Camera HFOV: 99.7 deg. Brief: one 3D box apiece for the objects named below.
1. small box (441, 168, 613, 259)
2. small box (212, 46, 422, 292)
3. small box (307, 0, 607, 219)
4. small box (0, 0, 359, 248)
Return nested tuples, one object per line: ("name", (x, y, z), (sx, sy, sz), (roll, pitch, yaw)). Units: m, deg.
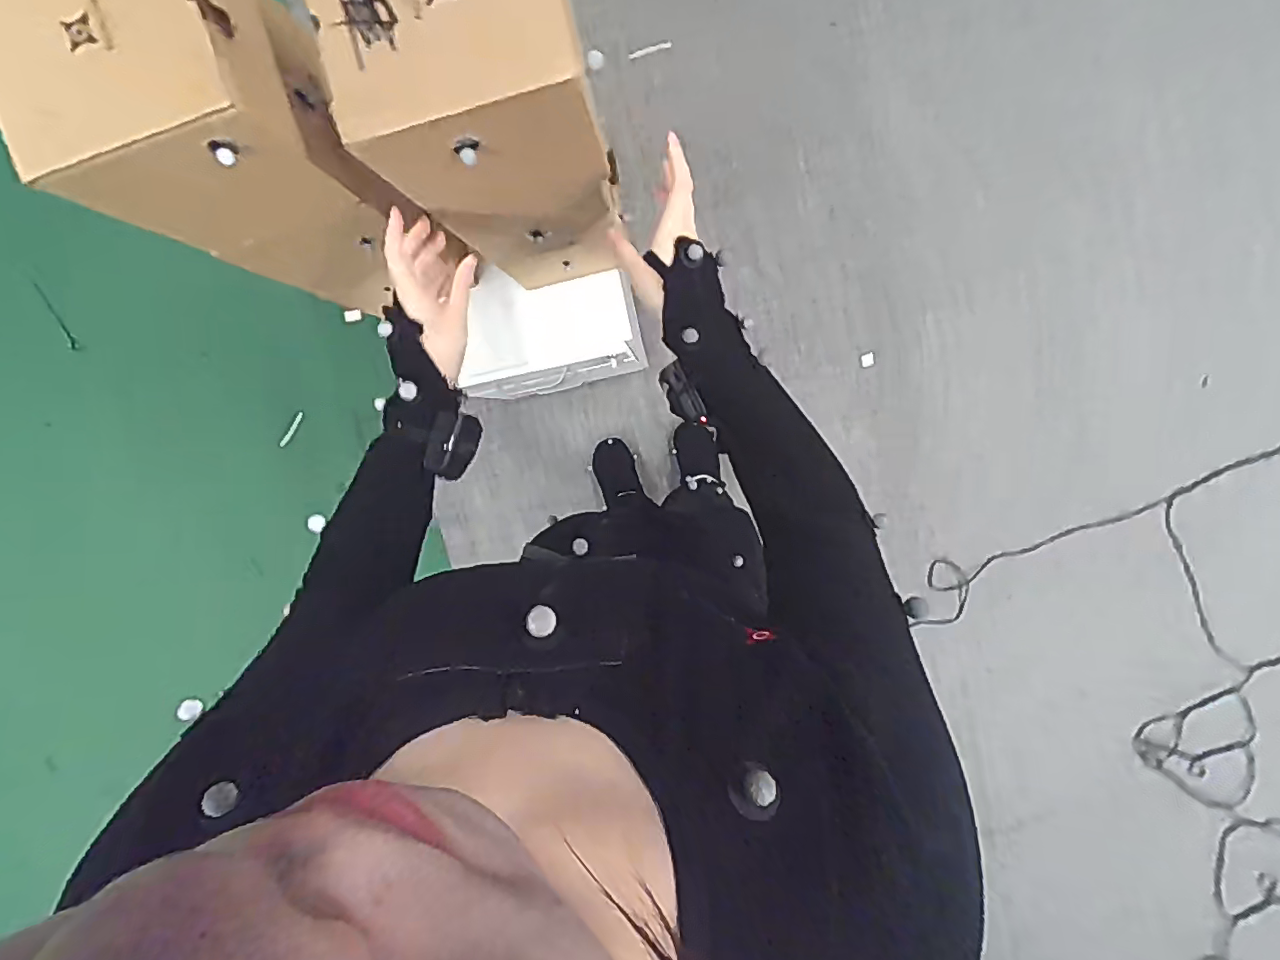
("small box", (-0.132, -0.365, 0.609), (0.168, 0.176, 0.179), (-12, 96, 5))
("small box", (-0.380, -0.340, 0.628), (0.179, 0.176, 0.168), (-18, 95, 4))
("small box", (-0.137, -0.341, 0.446), (0.179, 0.176, 0.168), (-13, 97, 5))
("small box", (-0.388, -0.325, 0.466), (0.179, 0.176, 0.168), (-17, 95, 3))
